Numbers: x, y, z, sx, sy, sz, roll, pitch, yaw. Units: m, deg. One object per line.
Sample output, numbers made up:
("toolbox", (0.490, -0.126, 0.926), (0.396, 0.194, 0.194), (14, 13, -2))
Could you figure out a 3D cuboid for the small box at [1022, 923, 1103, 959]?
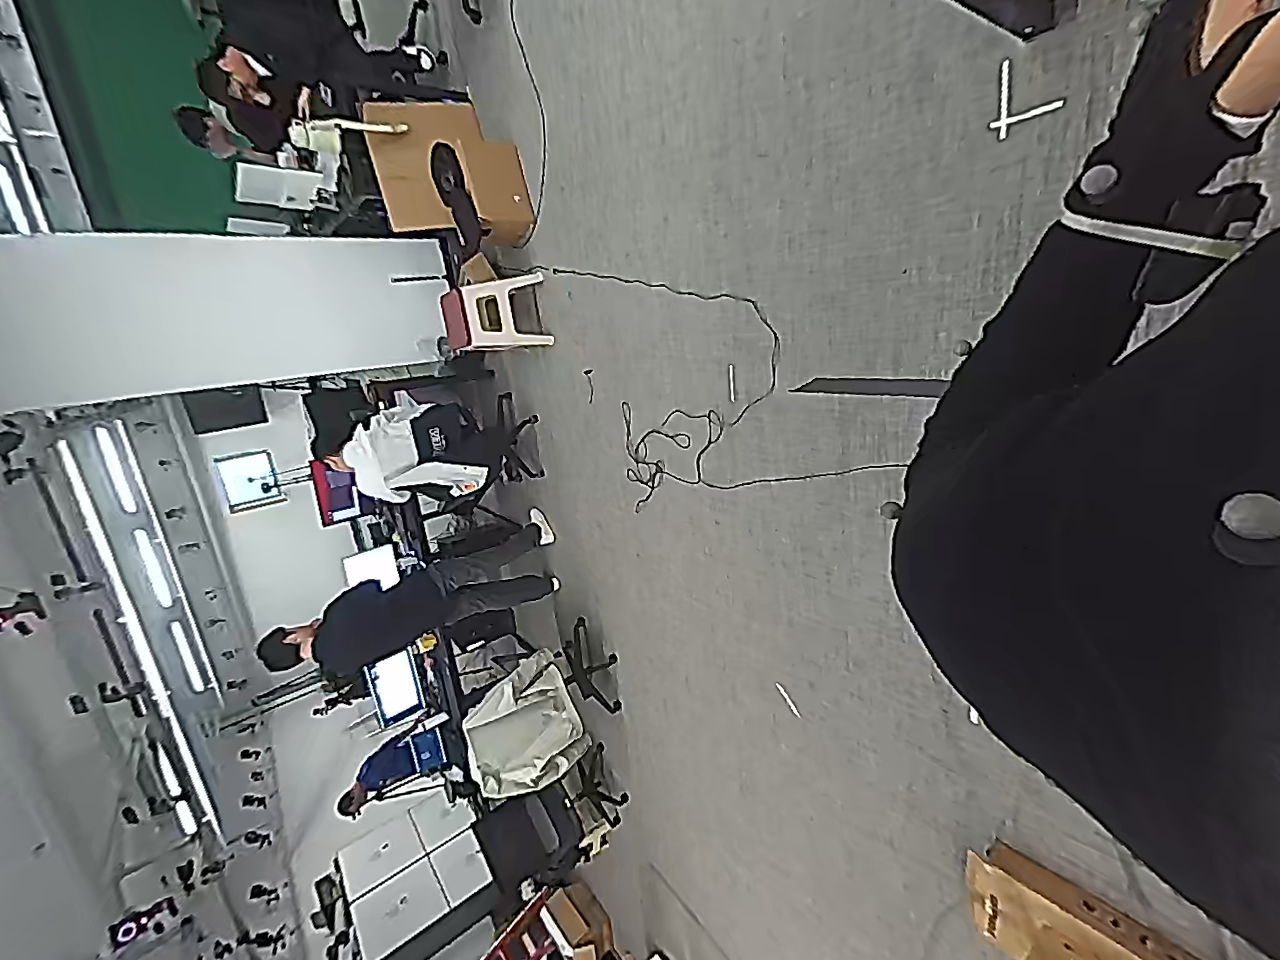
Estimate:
("small box", (1.119, 1.339, 1.419), (0.168, 0.176, 0.179), (13, 116, 52))
